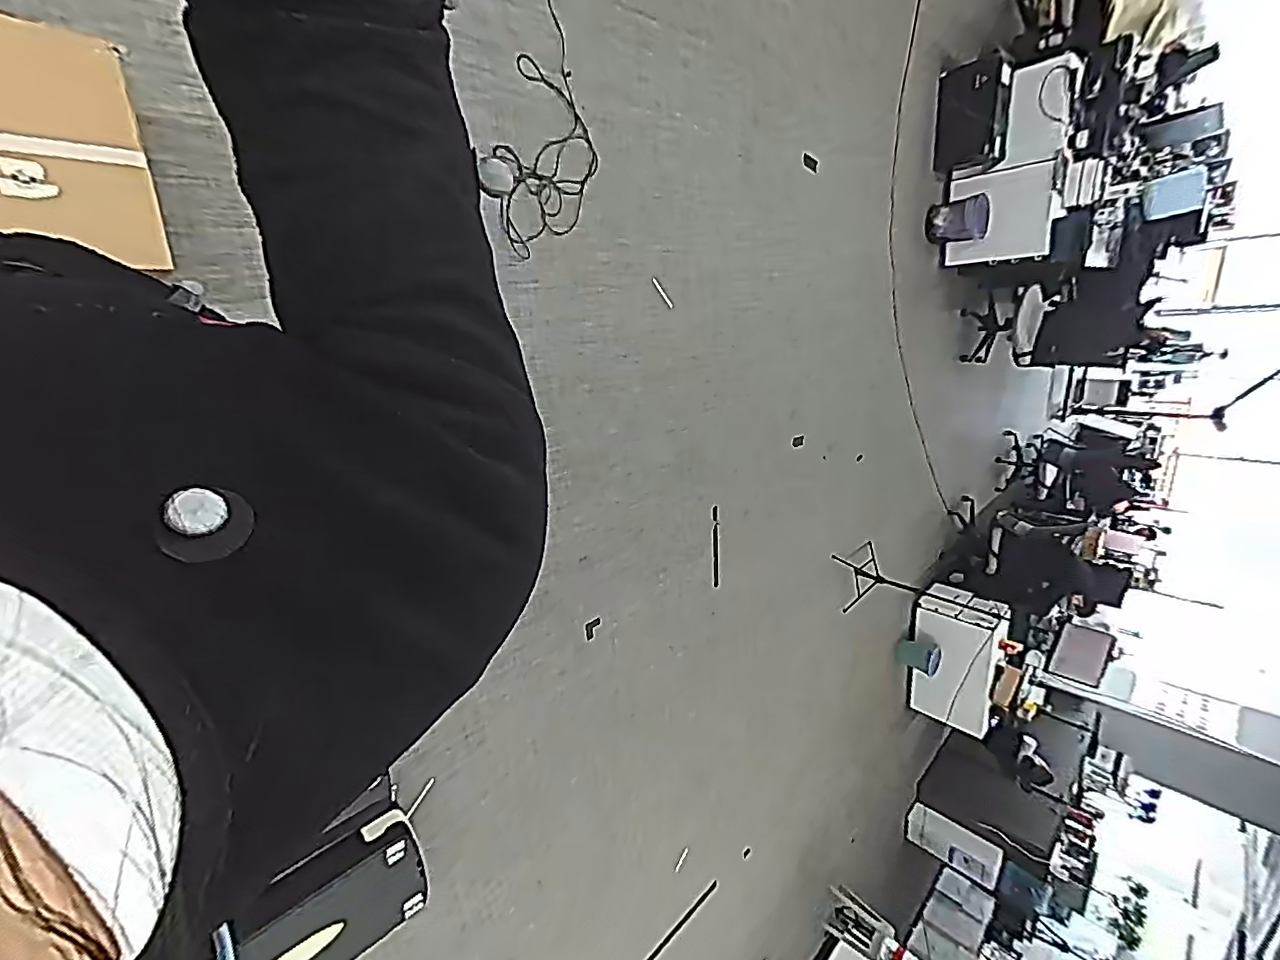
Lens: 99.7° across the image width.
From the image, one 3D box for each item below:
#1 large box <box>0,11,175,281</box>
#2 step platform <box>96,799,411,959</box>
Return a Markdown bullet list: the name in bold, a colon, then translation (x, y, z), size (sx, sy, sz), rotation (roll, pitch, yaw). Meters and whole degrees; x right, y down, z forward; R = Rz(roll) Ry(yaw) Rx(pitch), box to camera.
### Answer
- **large box**: translation (-0.999, -0.475, 0.802), size (0.408, 0.320, 0.320), rotation (-16, 111, -41)
- **step platform**: translation (-0.929, 1.130, 1.319), size (0.684, 0.204, 0.286), rotation (-20, 113, -38)
